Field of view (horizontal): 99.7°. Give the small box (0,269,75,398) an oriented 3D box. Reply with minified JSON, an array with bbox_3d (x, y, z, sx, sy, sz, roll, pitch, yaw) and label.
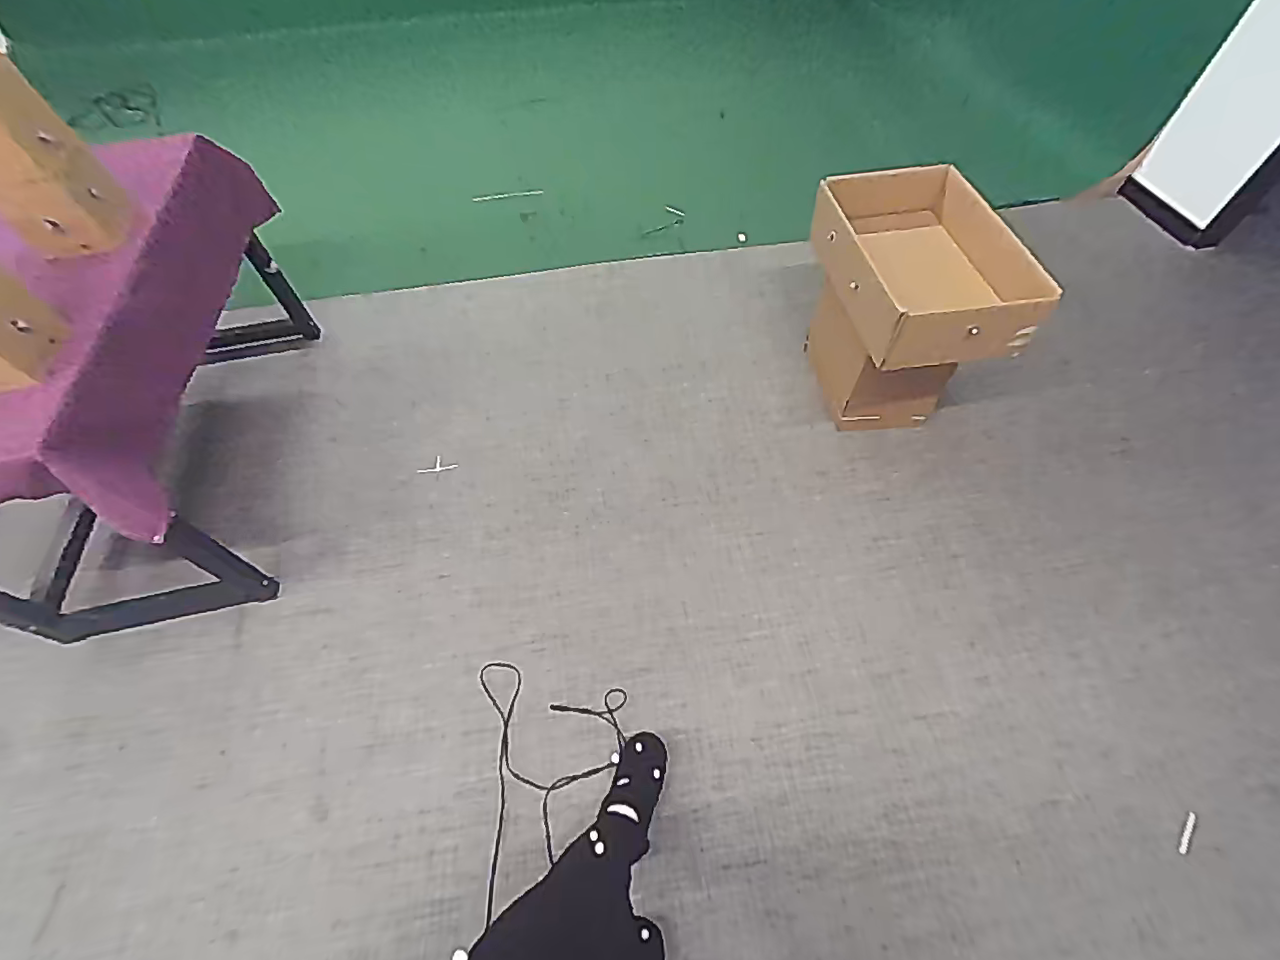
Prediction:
[{"bbox_3d":[-1.239,-0.265,1.010,0.179,0.176,0.168,-11,55,-5],"label":"small box"}]

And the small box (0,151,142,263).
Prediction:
[{"bbox_3d":[-1.324,-0.626,1.259,0.168,0.176,0.179,-12,57,-6],"label":"small box"}]

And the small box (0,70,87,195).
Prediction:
[{"bbox_3d":[-1.337,-0.714,1.122,0.179,0.176,0.168,-11,56,-5],"label":"small box"}]
